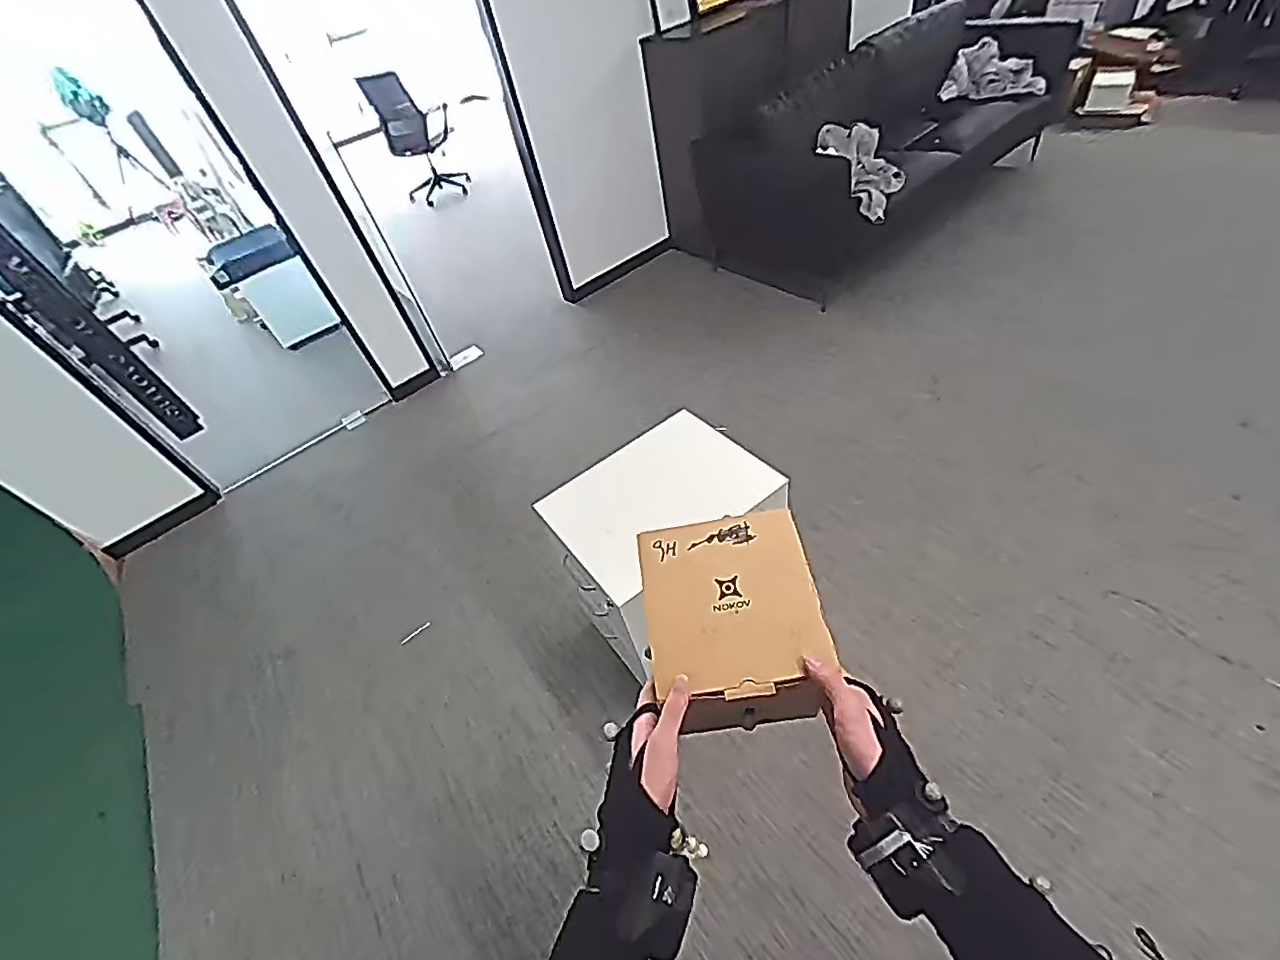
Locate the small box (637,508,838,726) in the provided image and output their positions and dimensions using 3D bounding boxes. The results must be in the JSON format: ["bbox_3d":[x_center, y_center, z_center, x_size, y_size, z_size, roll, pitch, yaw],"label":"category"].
[{"bbox_3d":[0.099,0.159,0.594,0.168,0.176,0.179,-12,54,2],"label":"small box"}]
